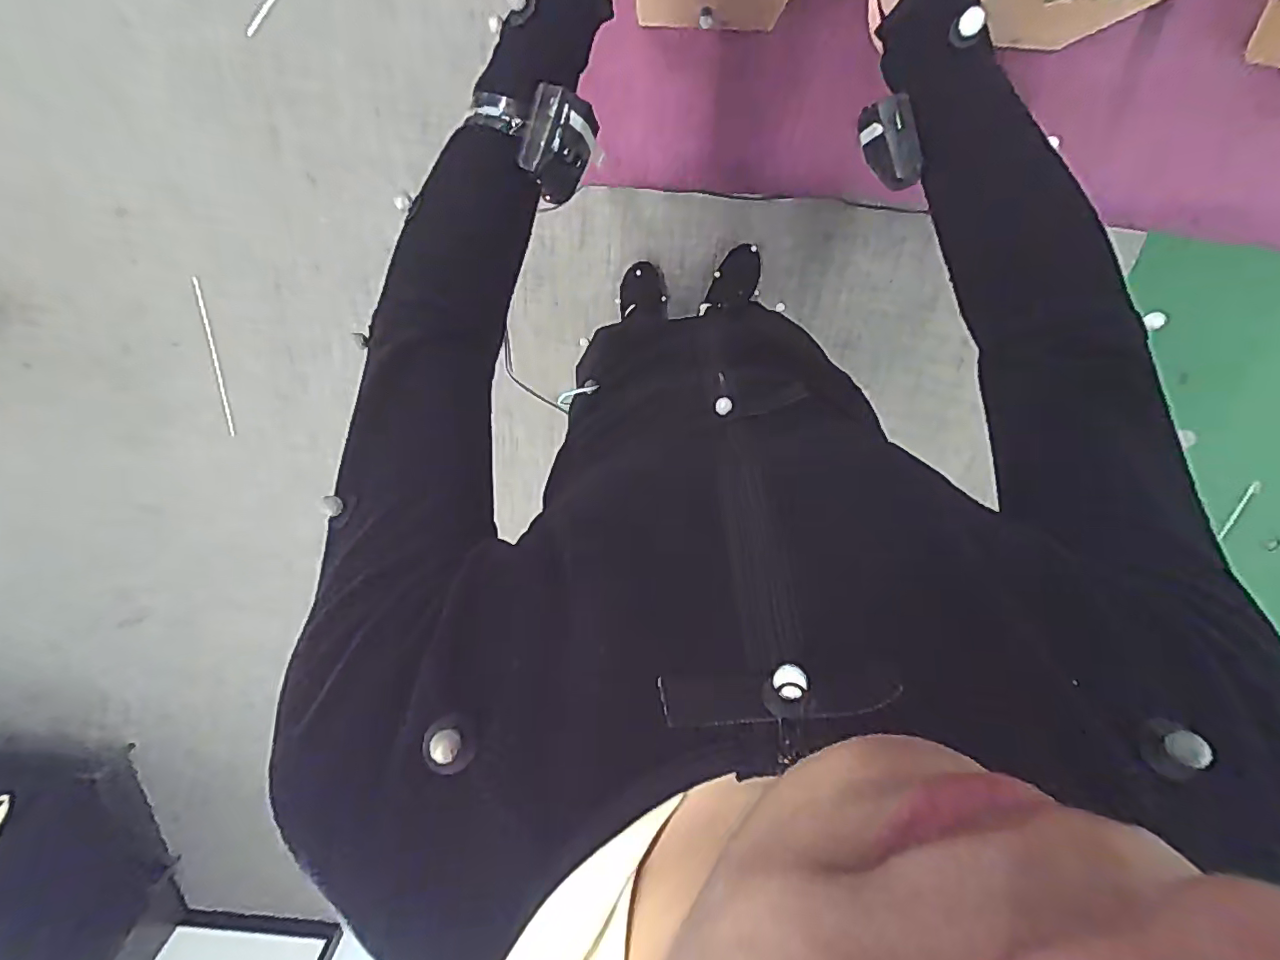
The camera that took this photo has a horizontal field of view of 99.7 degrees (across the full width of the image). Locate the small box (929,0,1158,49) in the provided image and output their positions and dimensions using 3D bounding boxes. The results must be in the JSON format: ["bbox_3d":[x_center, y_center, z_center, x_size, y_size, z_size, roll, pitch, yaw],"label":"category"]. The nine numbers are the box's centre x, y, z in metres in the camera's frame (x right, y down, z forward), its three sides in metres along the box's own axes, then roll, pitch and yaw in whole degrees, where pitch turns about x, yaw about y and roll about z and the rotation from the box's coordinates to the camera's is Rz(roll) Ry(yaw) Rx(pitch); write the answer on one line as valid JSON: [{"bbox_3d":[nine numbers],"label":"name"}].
[{"bbox_3d":[0.425,-0.571,0.550,0.168,0.176,0.179,5,113,1],"label":"small box"}]

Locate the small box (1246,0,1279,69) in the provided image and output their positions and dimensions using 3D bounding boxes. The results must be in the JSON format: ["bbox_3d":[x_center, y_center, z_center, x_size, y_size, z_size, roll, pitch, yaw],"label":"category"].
[{"bbox_3d":[0.815,-0.533,0.547,0.179,0.176,0.168,6,114,0],"label":"small box"}]

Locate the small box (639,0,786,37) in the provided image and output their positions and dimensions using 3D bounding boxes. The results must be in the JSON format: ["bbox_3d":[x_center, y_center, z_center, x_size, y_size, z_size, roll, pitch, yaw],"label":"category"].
[{"bbox_3d":[0.079,-0.595,0.554,0.168,0.176,0.179,4,114,1],"label":"small box"}]

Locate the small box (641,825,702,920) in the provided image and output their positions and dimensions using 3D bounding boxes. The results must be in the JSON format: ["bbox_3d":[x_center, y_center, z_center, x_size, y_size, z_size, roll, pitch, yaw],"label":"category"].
[{"bbox_3d":[0.100,1.243,1.718,0.168,0.176,0.179,9,114,0],"label":"small box"}]
